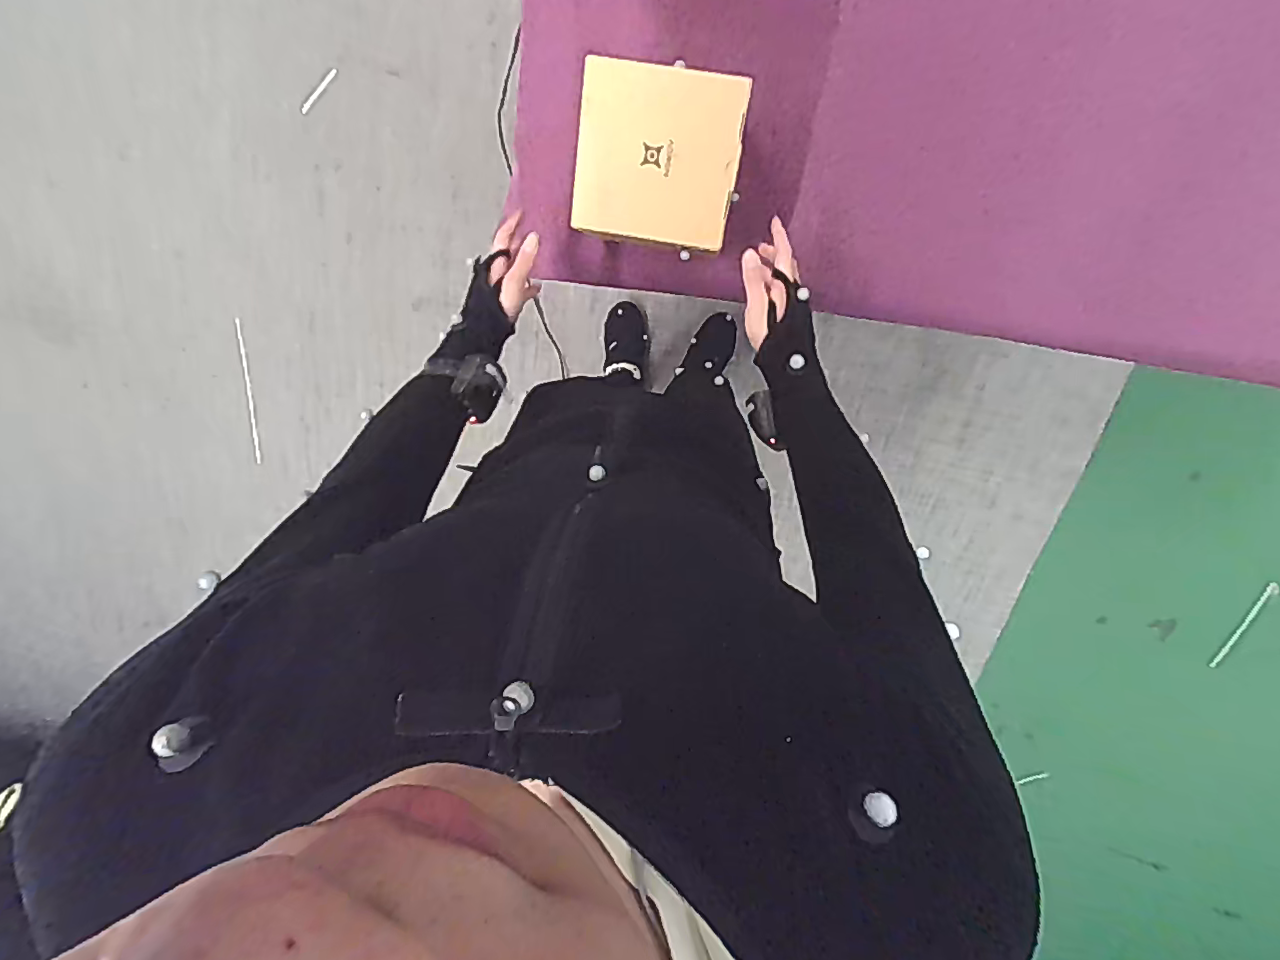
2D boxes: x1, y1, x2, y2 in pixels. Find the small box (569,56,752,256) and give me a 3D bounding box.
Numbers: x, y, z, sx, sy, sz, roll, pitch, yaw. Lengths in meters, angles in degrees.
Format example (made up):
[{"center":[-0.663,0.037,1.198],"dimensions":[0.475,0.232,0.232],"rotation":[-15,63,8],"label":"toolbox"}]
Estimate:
[{"center":[0.025,-0.372,0.654],"dimensions":[0.179,0.176,0.168],"rotation":[10,111,2],"label":"small box"}]
